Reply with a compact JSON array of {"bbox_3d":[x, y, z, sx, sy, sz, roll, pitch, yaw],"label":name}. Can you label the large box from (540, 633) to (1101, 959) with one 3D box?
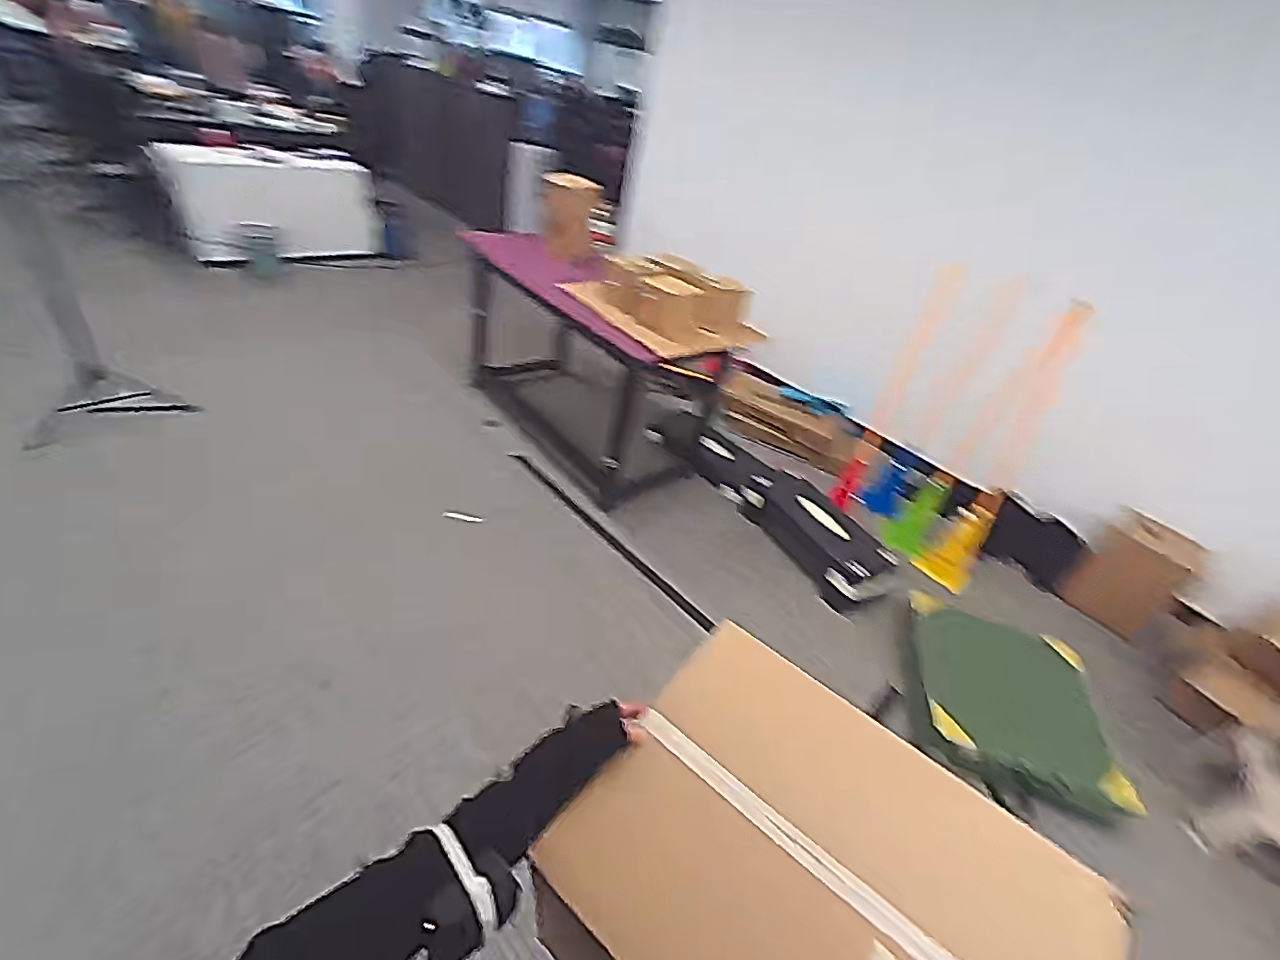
[{"bbox_3d":[0.143,0.450,0.559,0.408,0.320,0.320,32,46,25],"label":"large box"}]
